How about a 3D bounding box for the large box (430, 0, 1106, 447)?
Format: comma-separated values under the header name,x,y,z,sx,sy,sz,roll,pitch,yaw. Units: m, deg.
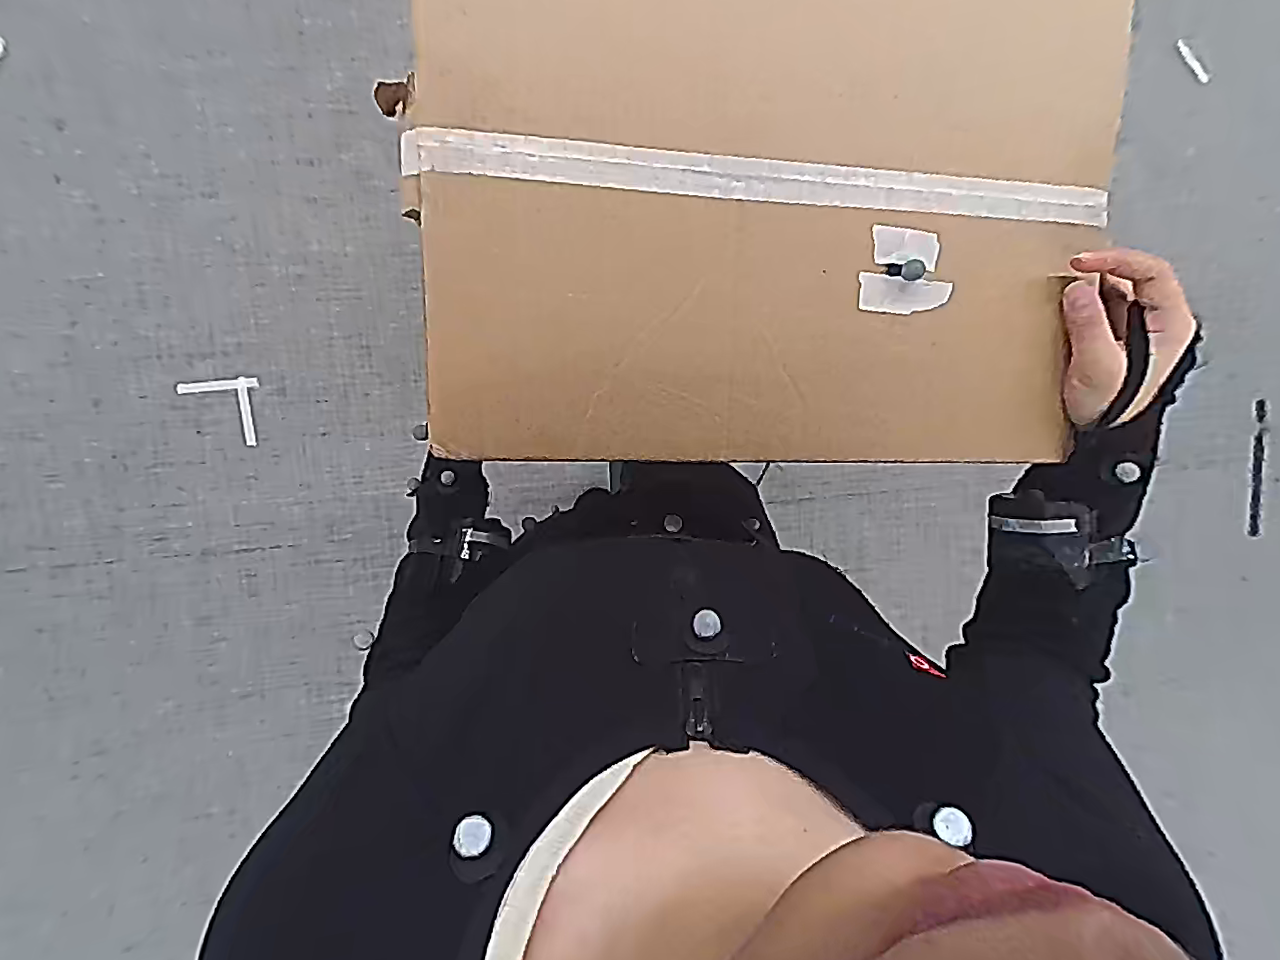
name,x,y,z,sx,sy,sz,roll,pitch,yaw
large box,0.062,-0.197,0.458,0.408,0.320,0.320,-1,99,-11
